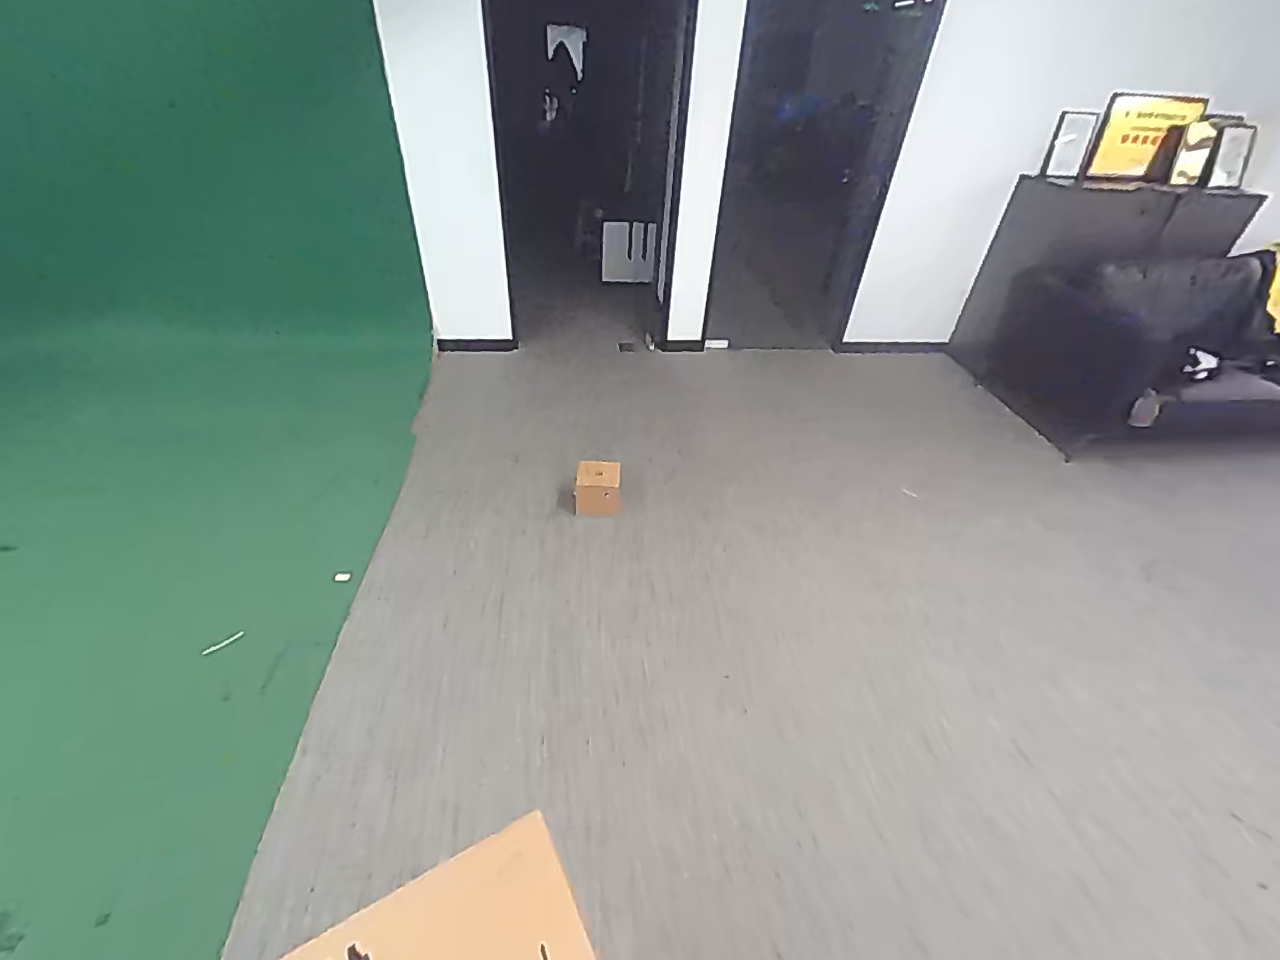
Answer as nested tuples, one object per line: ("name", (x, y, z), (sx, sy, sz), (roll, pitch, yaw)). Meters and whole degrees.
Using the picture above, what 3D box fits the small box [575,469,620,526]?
("small box", (-0.178, 0.075, 2.249), (0.179, 0.176, 0.168), (2, 38, -3))
